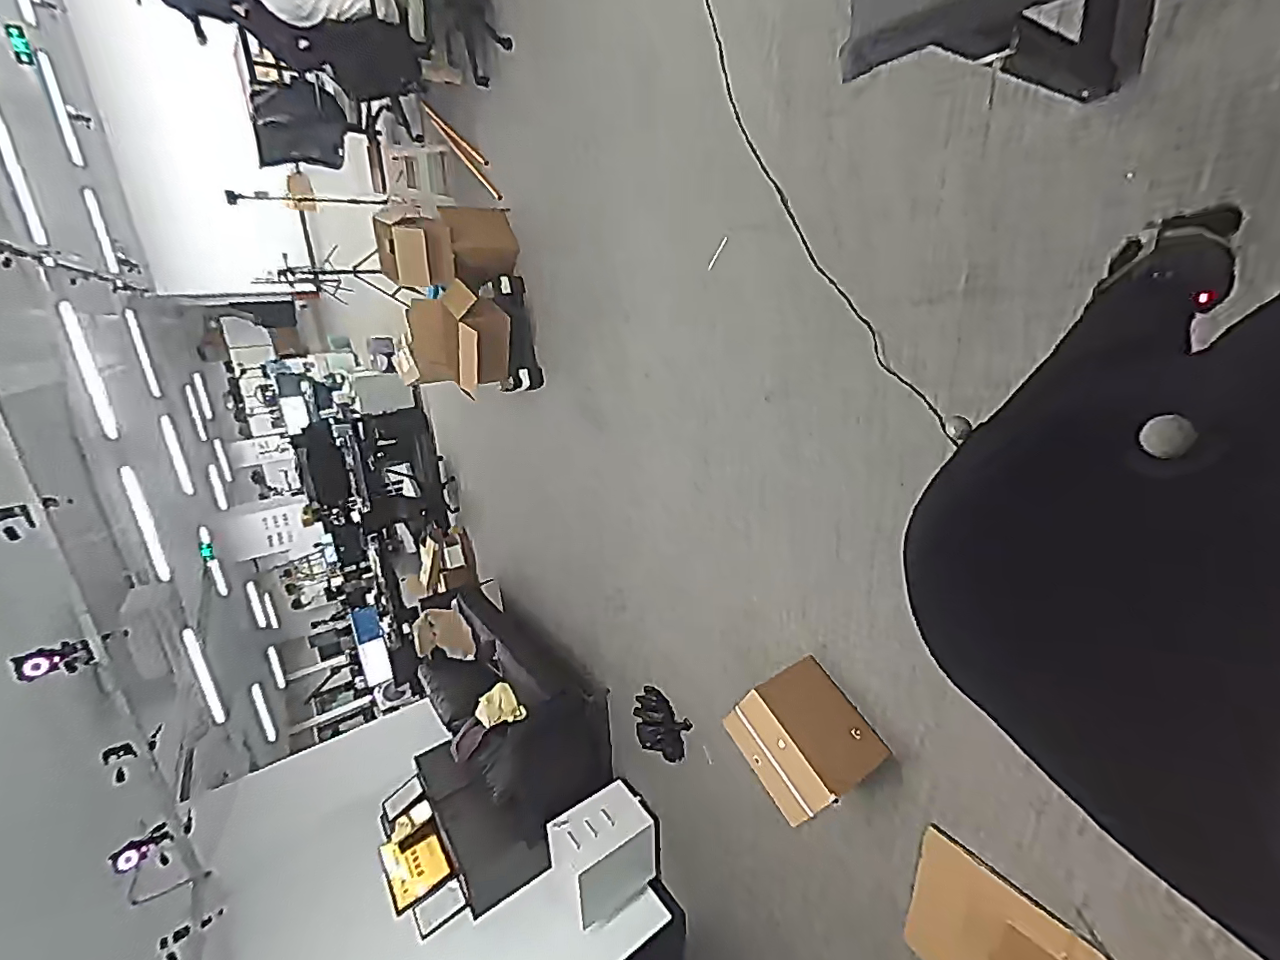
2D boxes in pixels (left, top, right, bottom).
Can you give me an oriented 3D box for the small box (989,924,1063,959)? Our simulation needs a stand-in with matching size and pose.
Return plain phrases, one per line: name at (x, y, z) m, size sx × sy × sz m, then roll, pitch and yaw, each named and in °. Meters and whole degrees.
small box at (1.094, 1.419, 1.516) m, size 0.179 × 0.176 × 0.168 m, roll 17°, pitch 119°, yaw 52°
